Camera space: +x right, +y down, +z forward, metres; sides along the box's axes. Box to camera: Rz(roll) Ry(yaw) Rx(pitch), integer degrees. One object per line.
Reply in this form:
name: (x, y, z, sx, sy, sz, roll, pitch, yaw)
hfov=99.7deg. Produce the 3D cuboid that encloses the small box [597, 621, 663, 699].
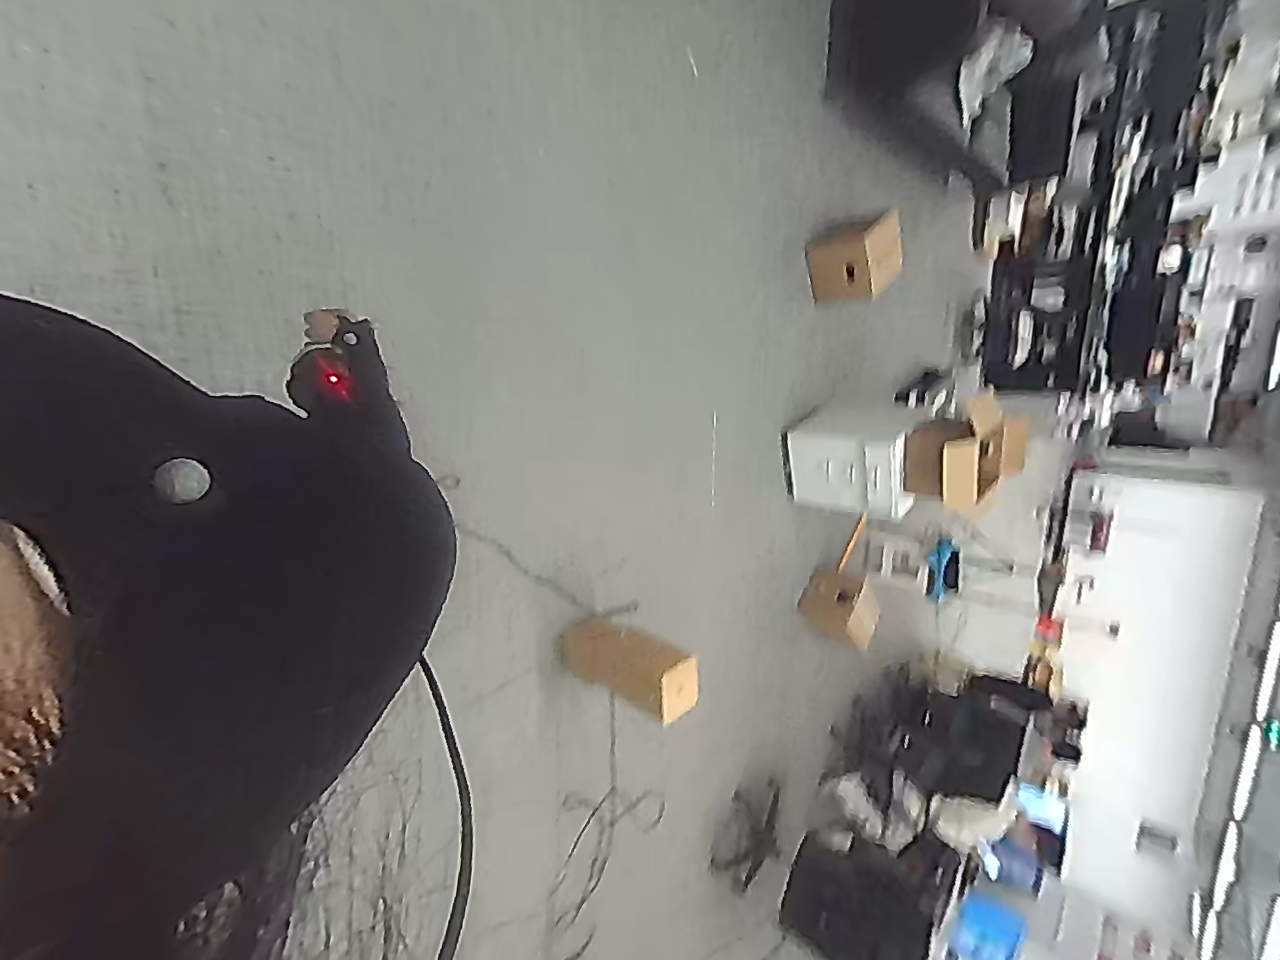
small box: (-0.035, 0.619, 1.881, 0.168, 0.176, 0.179, -15, 107, -43)

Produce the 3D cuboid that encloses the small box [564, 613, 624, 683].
small box: (-0.162, 0.605, 1.984, 0.168, 0.176, 0.179, -19, 111, -41)

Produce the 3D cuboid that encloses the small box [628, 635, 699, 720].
small box: (0.075, 0.636, 1.762, 0.168, 0.176, 0.179, -16, 107, -43)
